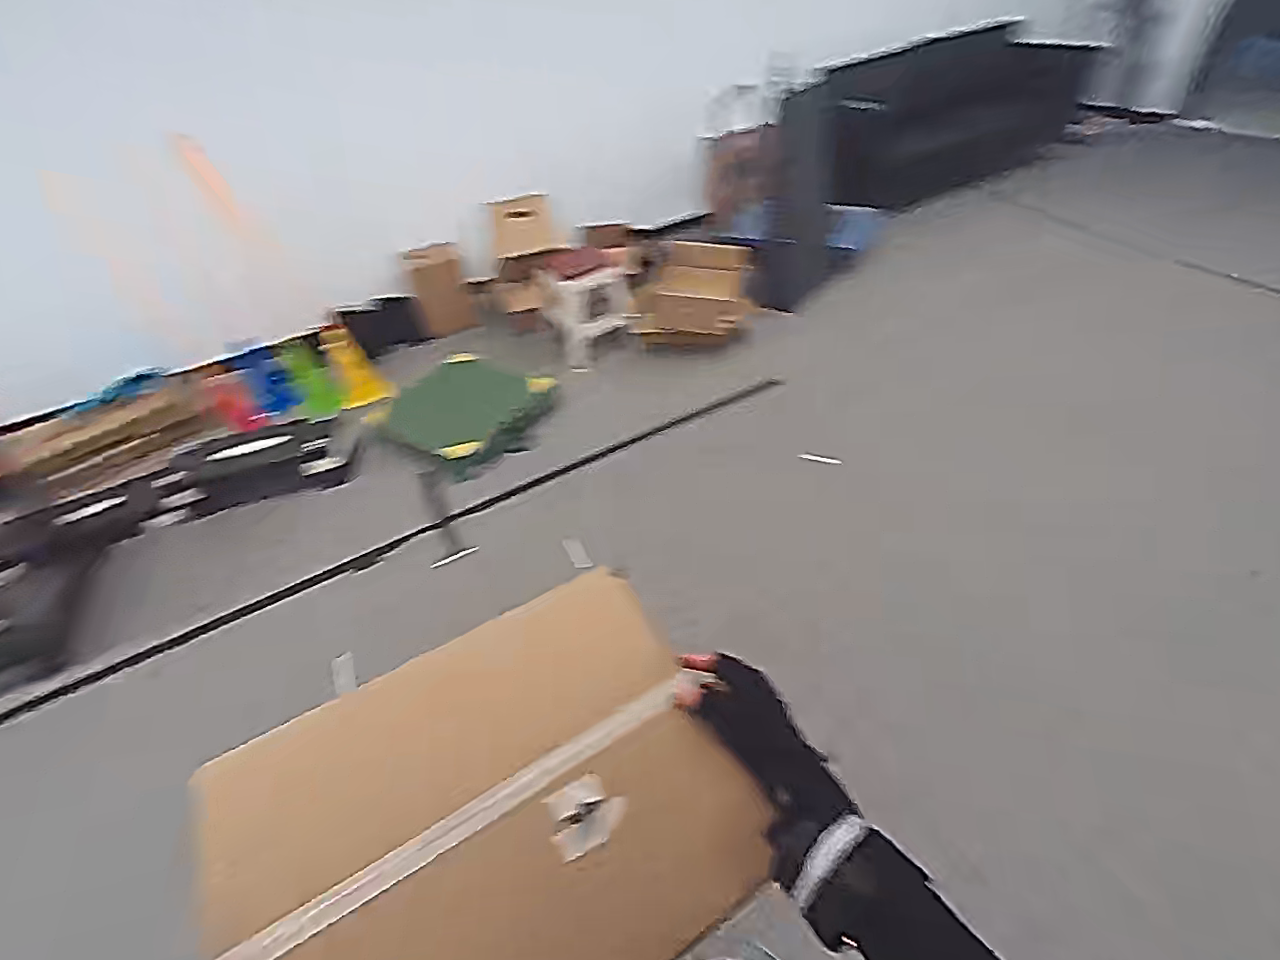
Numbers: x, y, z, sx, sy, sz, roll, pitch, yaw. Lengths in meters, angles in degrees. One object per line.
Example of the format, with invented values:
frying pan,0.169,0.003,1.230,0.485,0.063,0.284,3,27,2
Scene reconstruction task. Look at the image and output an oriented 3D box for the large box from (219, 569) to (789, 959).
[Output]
large box,-0.123,0.372,0.566,0.408,0.320,0.320,-24,53,-21
